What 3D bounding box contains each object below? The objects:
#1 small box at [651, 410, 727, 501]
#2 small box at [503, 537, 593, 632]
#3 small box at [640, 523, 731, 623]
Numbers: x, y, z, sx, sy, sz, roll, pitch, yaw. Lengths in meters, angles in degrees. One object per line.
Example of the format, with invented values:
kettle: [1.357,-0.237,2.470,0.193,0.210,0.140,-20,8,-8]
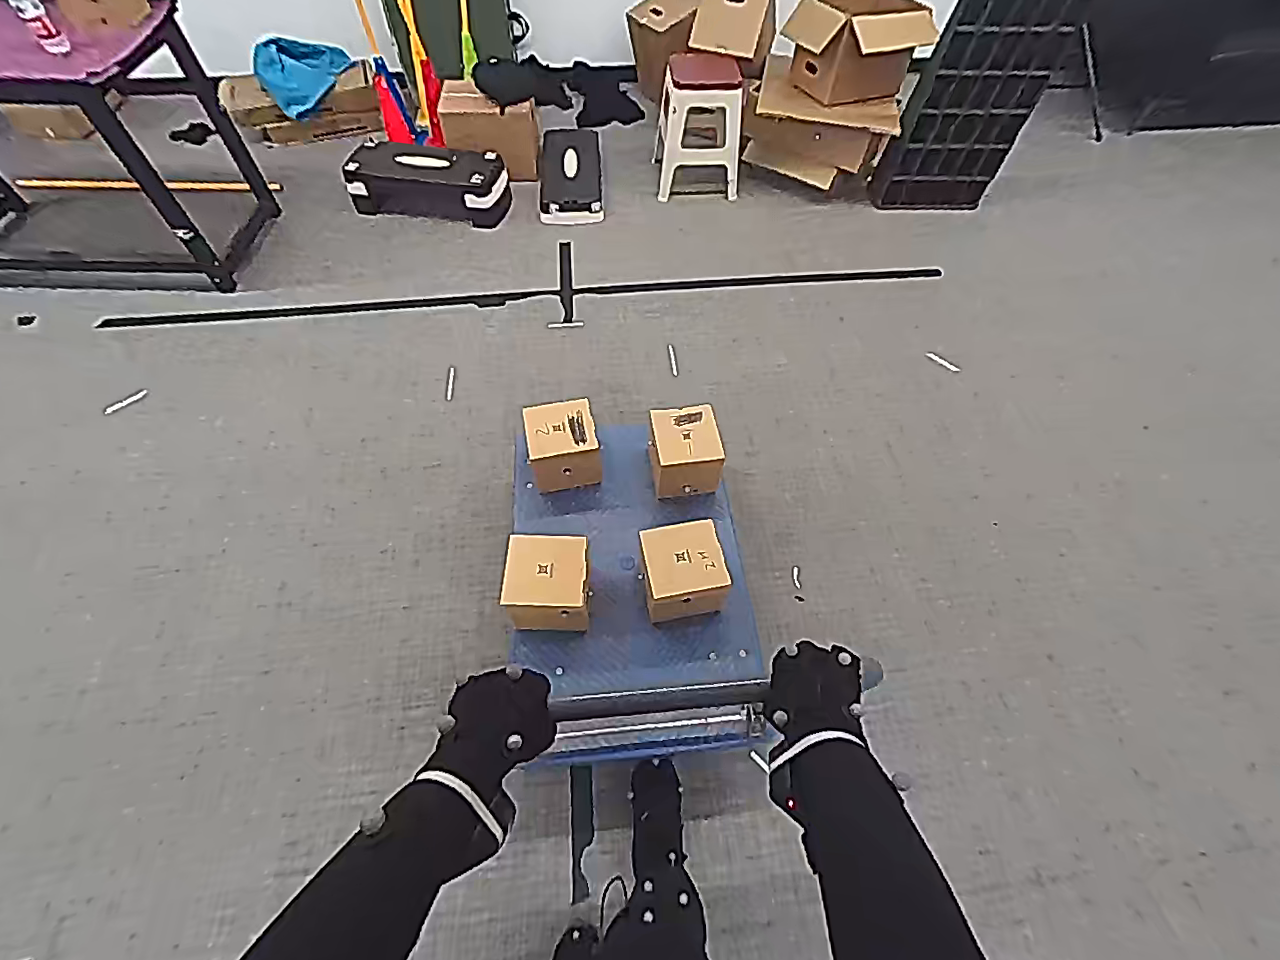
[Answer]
small box: [0.122,-0.065,1.446,0.168,0.176,0.179,-6,59,-5]
small box: [-0.204,0.244,1.245,0.179,0.176,0.168,2,58,-2]
small box: [0.099,0.223,1.266,0.179,0.176,0.168,-8,59,-7]
